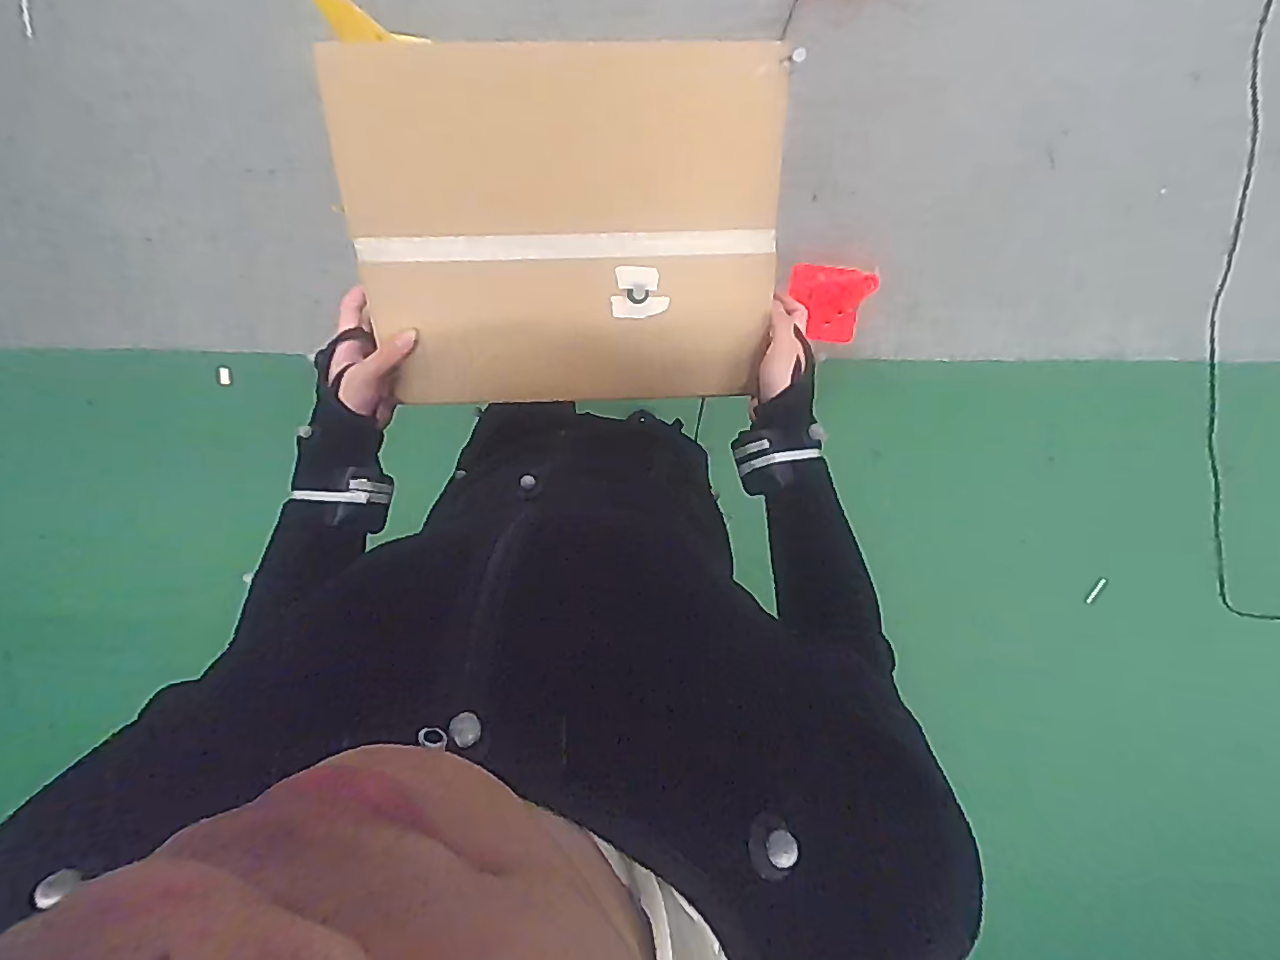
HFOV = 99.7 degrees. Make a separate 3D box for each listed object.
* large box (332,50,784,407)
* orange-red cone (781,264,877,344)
[{"bbox_3d":[-0.075,-0.291,0.667,0.408,0.320,0.320,-3,116,-3],"label":"large box"},{"bbox_3d":[0.503,-0.455,1.344,0.199,0.360,0.198,8,102,-1],"label":"orange-red cone"}]
